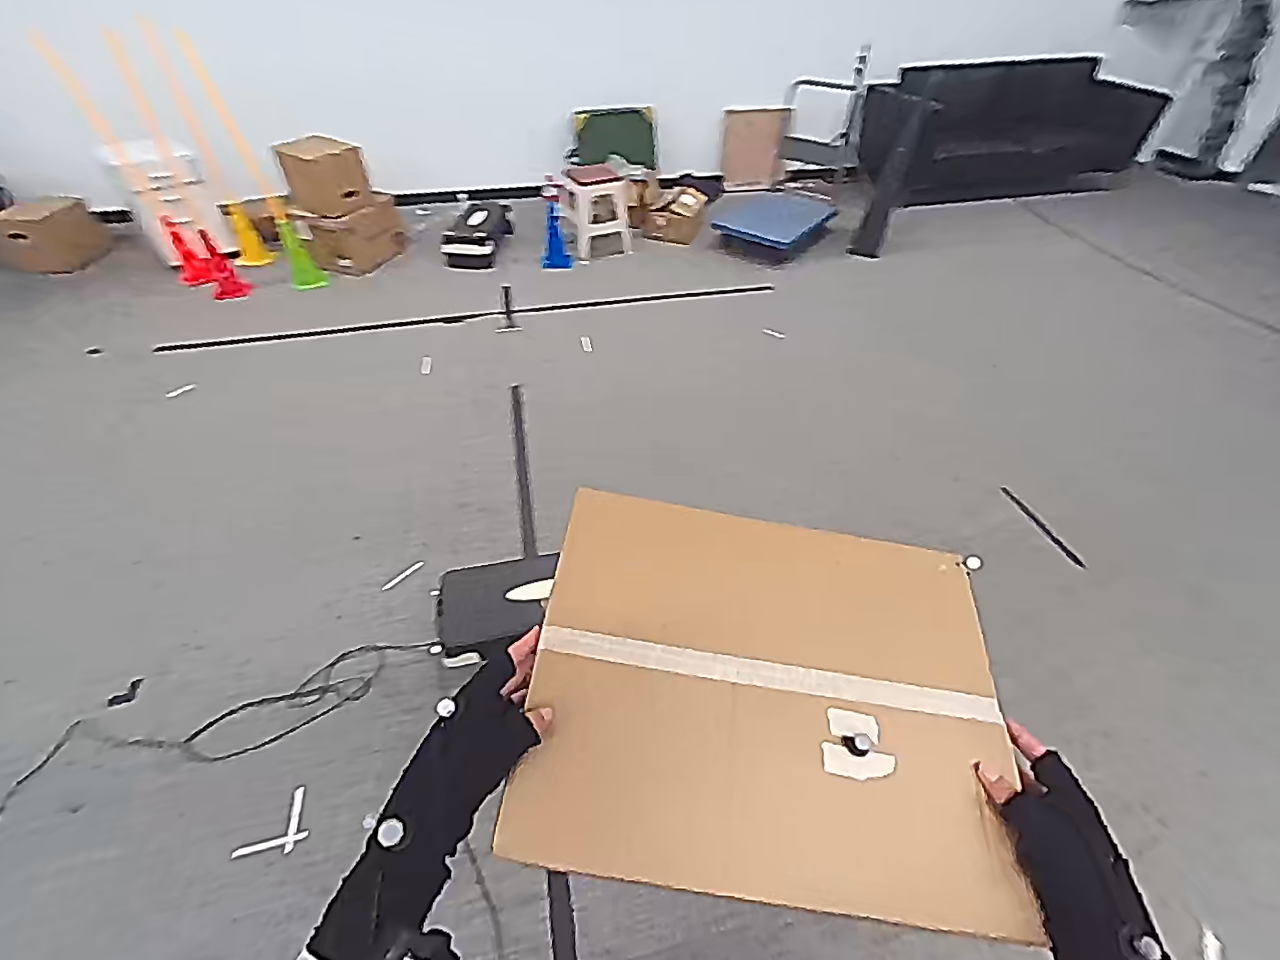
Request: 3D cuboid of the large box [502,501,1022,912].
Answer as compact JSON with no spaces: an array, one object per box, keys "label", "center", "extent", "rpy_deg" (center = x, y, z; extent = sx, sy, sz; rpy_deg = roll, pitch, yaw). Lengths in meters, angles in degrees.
[{"label":"large box","center":[0.088,0.256,0.603],"extent":[0.408,0.320,0.320],"rpy_deg":[9,56,-2]}]
